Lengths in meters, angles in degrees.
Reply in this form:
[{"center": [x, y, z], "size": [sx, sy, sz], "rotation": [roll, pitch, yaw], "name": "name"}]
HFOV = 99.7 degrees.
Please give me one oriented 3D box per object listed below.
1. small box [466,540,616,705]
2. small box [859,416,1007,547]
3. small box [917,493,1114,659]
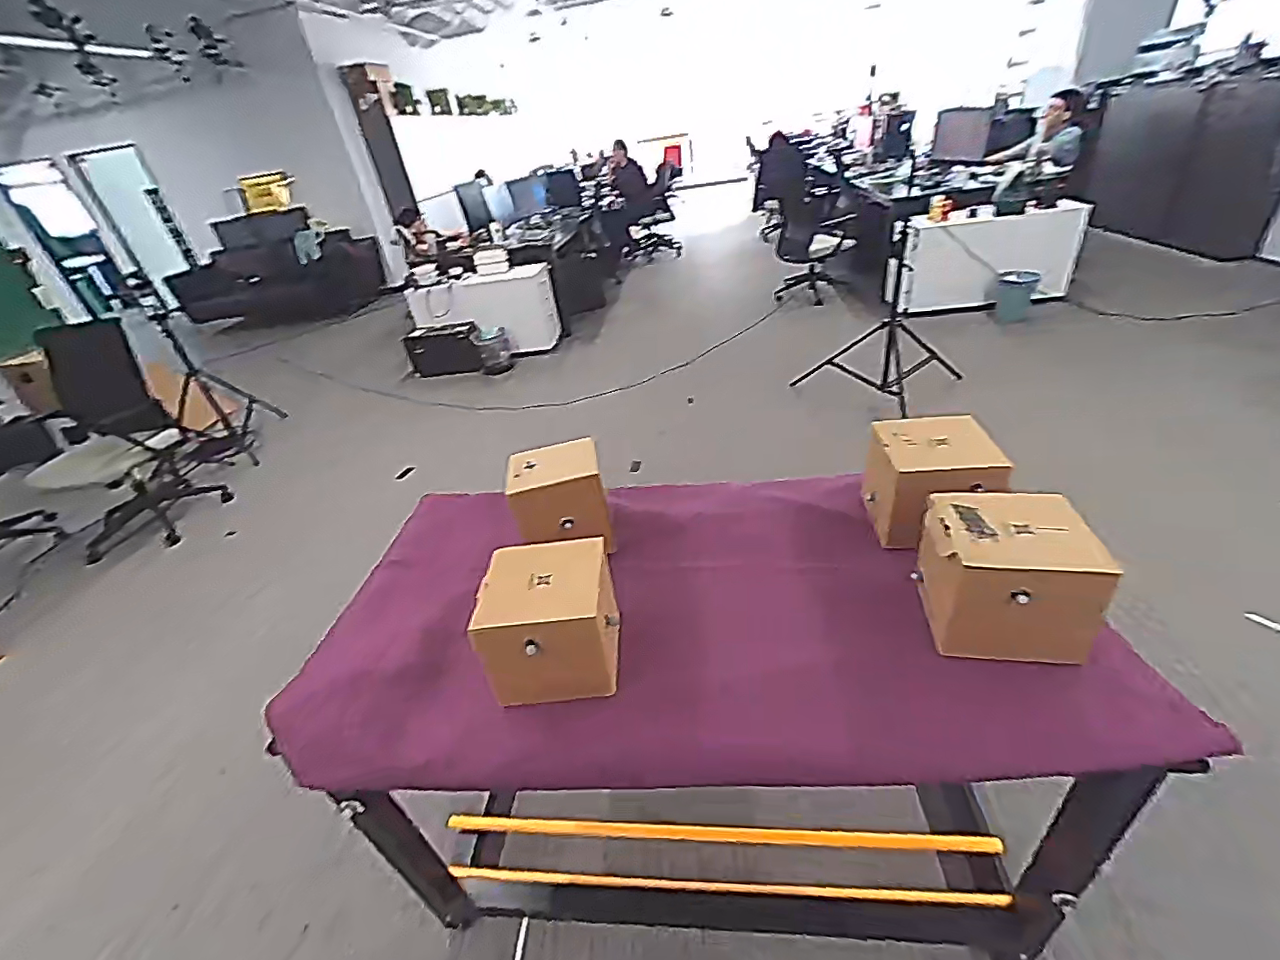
[{"center": [-0.133, 0.214, 0.812], "size": [0.179, 0.176, 0.168], "rotation": [-7, 32, 4], "name": "small box"}, {"center": [0.506, 0.004, 0.963], "size": [0.179, 0.176, 0.168], "rotation": [-4, 34, 8], "name": "small box"}, {"center": [0.507, 0.133, 0.766], "size": [0.179, 0.176, 0.168], "rotation": [-1, 33, 13], "name": "small box"}]
